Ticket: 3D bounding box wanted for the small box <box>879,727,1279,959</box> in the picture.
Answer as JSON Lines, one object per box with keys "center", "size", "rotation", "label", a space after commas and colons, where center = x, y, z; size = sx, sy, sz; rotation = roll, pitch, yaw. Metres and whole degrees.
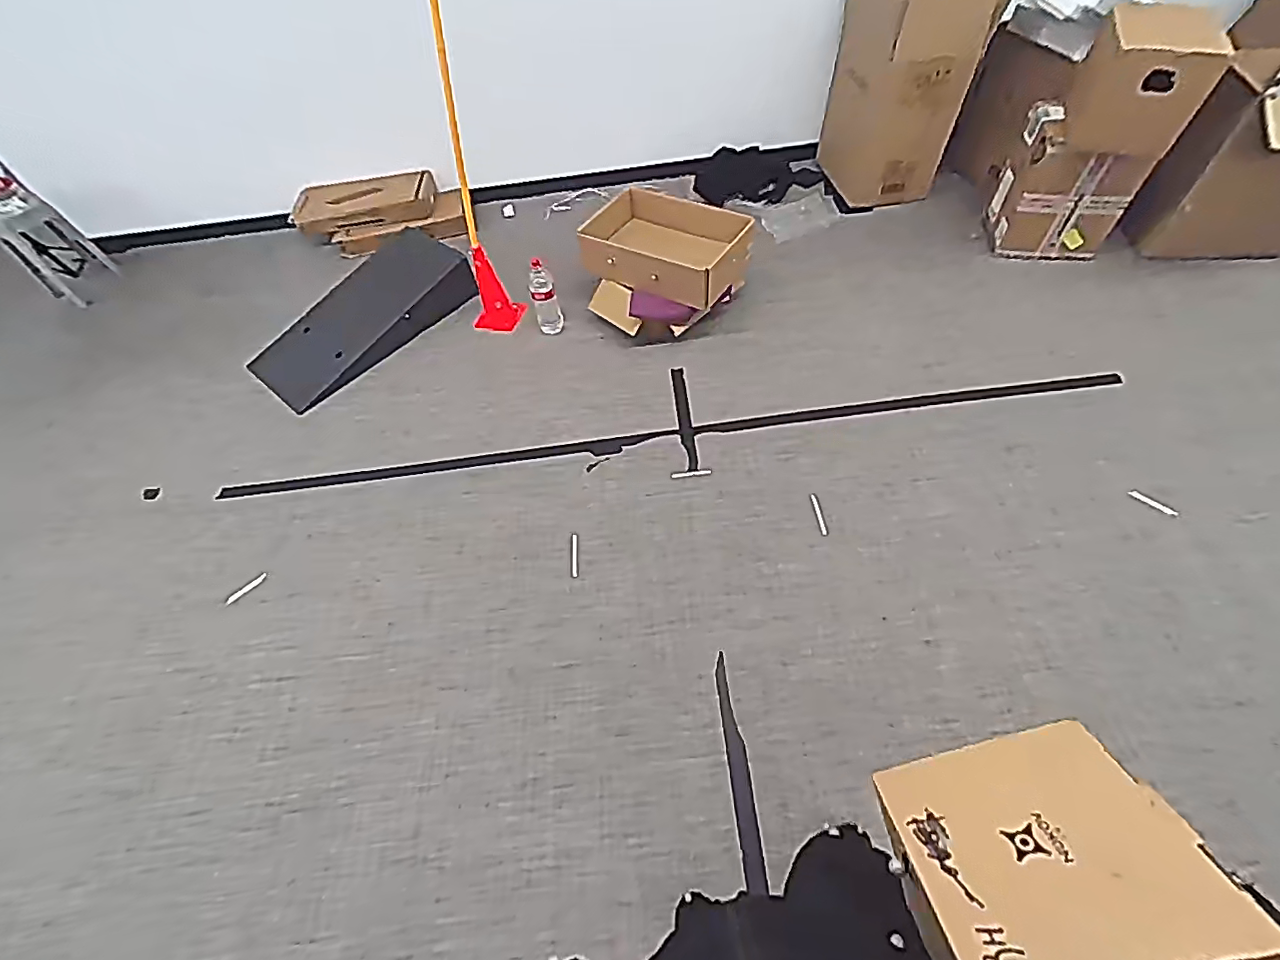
{"center": [0.315, 0.333, 0.418], "size": [0.179, 0.176, 0.168], "rotation": [-18, 19, 7], "label": "small box"}
